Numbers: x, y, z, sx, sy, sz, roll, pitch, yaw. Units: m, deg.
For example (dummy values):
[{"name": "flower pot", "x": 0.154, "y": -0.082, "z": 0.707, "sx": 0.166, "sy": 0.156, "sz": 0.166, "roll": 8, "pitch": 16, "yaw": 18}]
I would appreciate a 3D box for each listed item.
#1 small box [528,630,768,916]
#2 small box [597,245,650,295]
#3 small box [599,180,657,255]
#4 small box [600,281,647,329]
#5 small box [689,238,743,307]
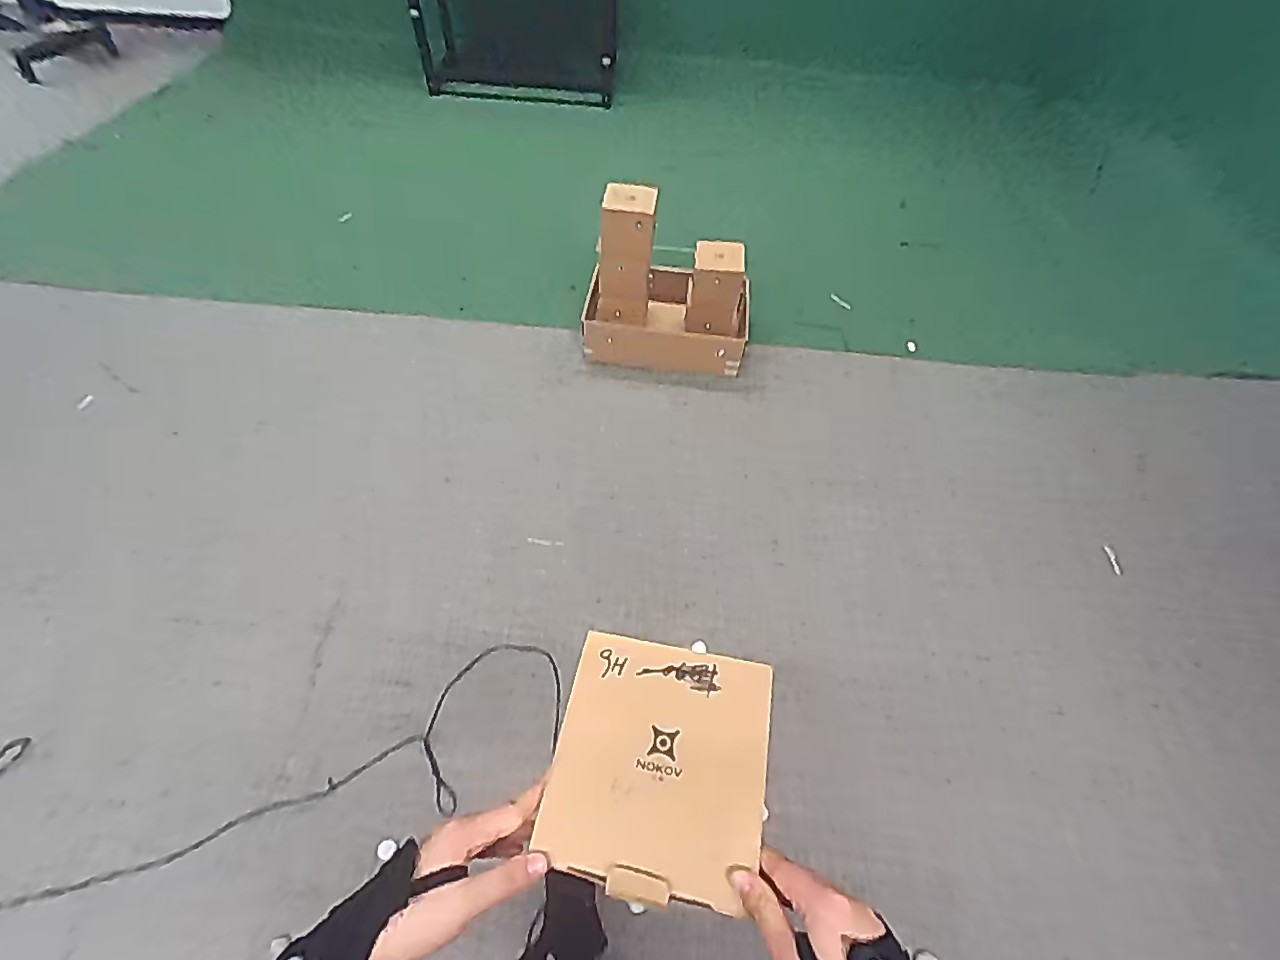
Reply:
[{"name": "small box", "x": 0.017, "y": 0.261, "z": 0.496, "sx": 0.168, "sy": 0.176, "sz": 0.179, "roll": 9, "pitch": 57, "yaw": 8}, {"name": "small box", "x": -0.060, "y": -0.801, "z": 1.985, "sx": 0.179, "sy": 0.176, "sz": 0.168, "roll": 7, "pitch": 56, "yaw": 1}, {"name": "small box", "x": -0.042, "y": -0.892, "z": 1.847, "sx": 0.179, "sy": 0.176, "sz": 0.168, "roll": 7, "pitch": 55, "yaw": 1}, {"name": "small box", "x": -0.062, "y": -0.716, "z": 2.125, "sx": 0.168, "sy": 0.176, "sz": 0.179, "roll": 6, "pitch": 56, "yaw": 1}, {"name": "small box", "x": 0.274, "y": -0.752, "z": 1.966, "sx": 0.179, "sy": 0.176, "sz": 0.168, "roll": 5, "pitch": 57, "yaw": 2}]
